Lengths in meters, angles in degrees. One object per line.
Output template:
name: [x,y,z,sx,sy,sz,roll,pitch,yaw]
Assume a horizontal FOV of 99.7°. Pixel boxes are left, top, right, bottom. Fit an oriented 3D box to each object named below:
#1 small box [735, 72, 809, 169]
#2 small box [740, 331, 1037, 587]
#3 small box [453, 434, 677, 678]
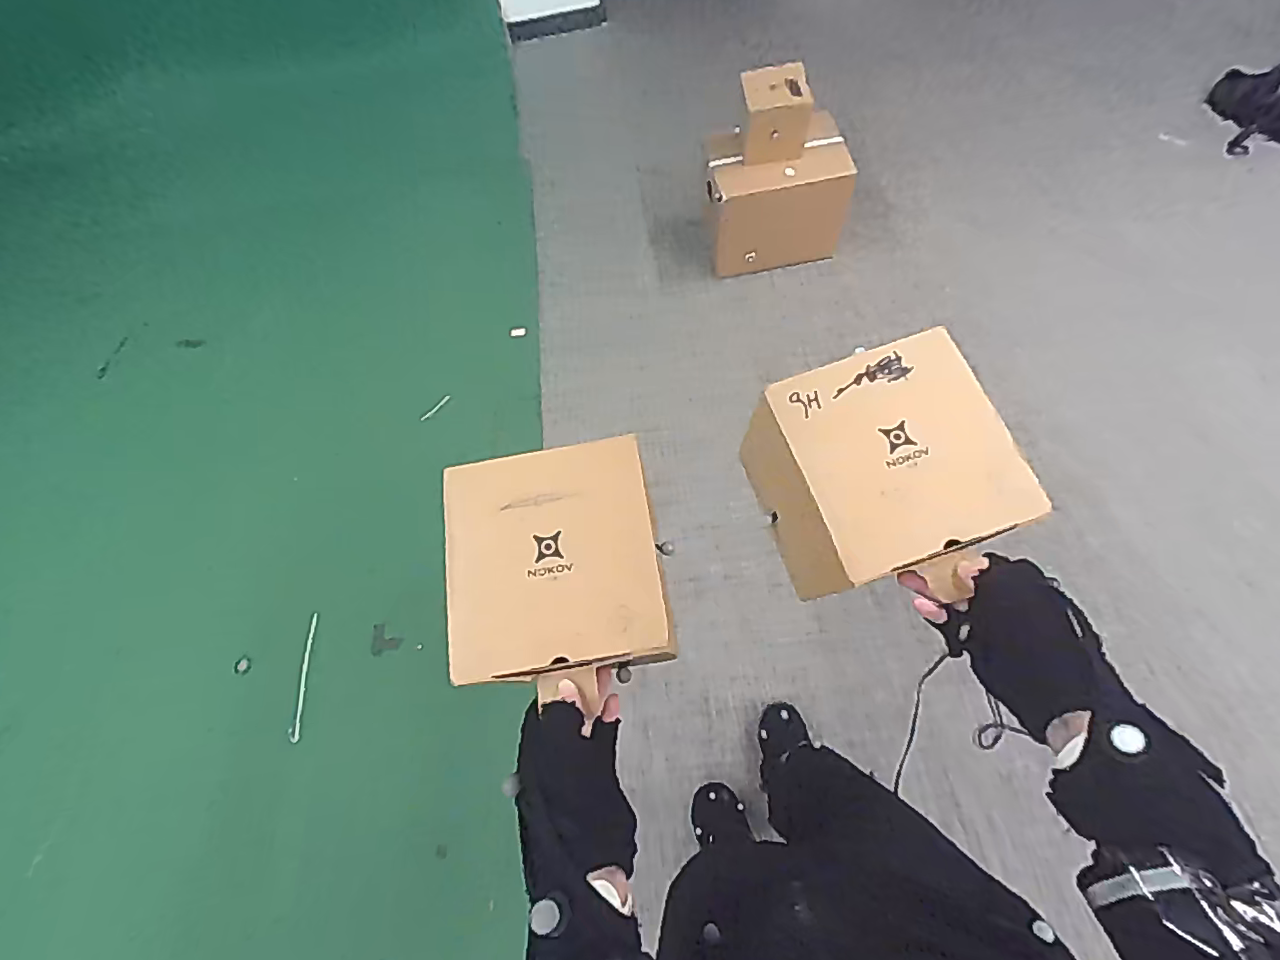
small box: [0.376,-1.039,1.570,0.179,0.176,0.168,-3,68,4]
small box: [0.209,-0.004,0.513,0.168,0.176,0.179,-18,74,-4]
small box: [-0.060,0.082,0.505,0.168,0.176,0.179,-10,68,1]
